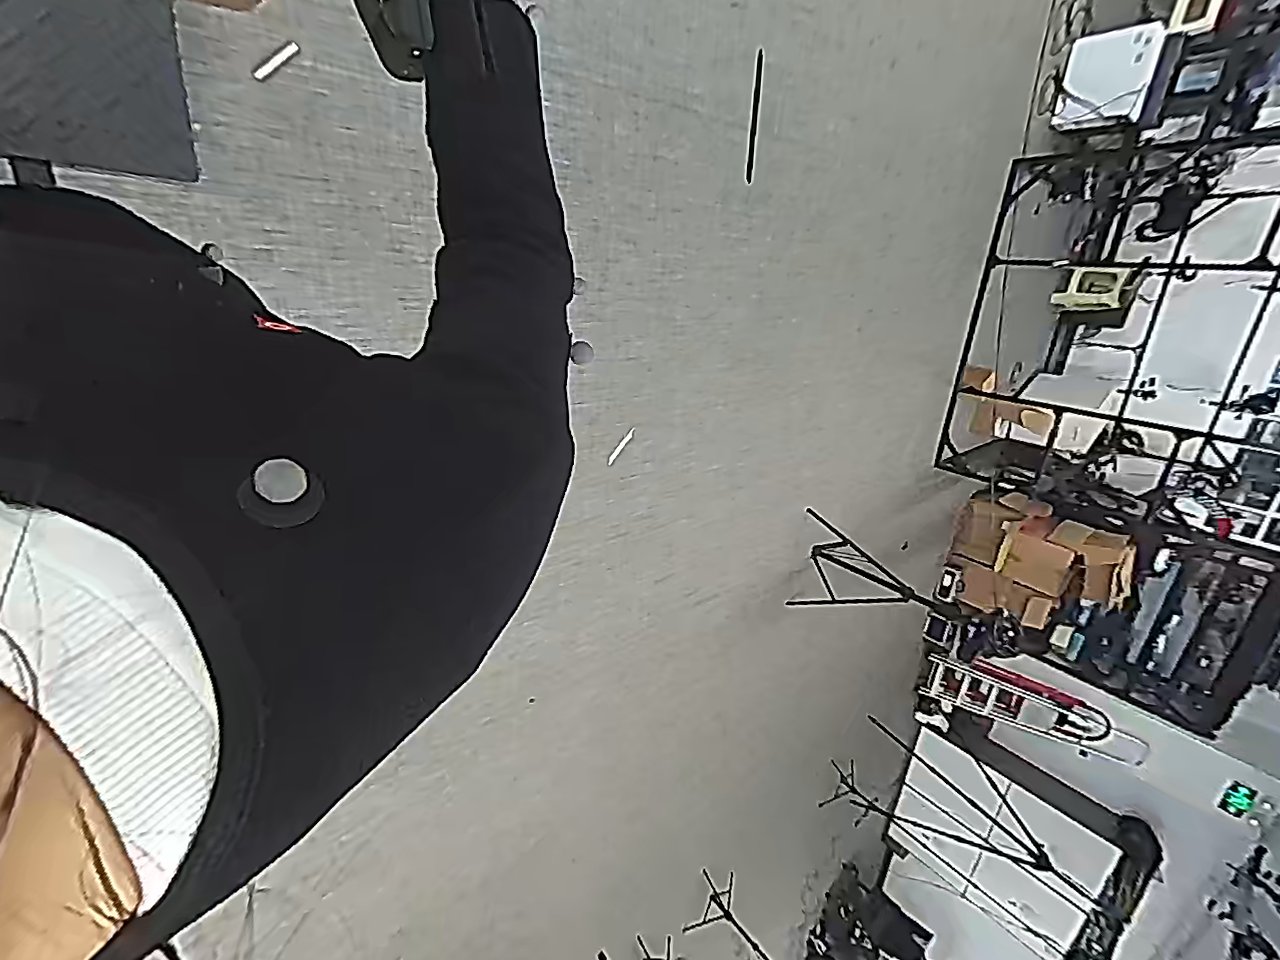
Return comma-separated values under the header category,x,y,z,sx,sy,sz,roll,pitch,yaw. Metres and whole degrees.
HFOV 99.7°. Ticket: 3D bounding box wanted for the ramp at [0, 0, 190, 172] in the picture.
category,x,y,z,sx,sy,sz,roll,pitch,yaw
ramp,-0.947,-0.983,0.665,0.509,0.206,0.991,-14,118,-39
